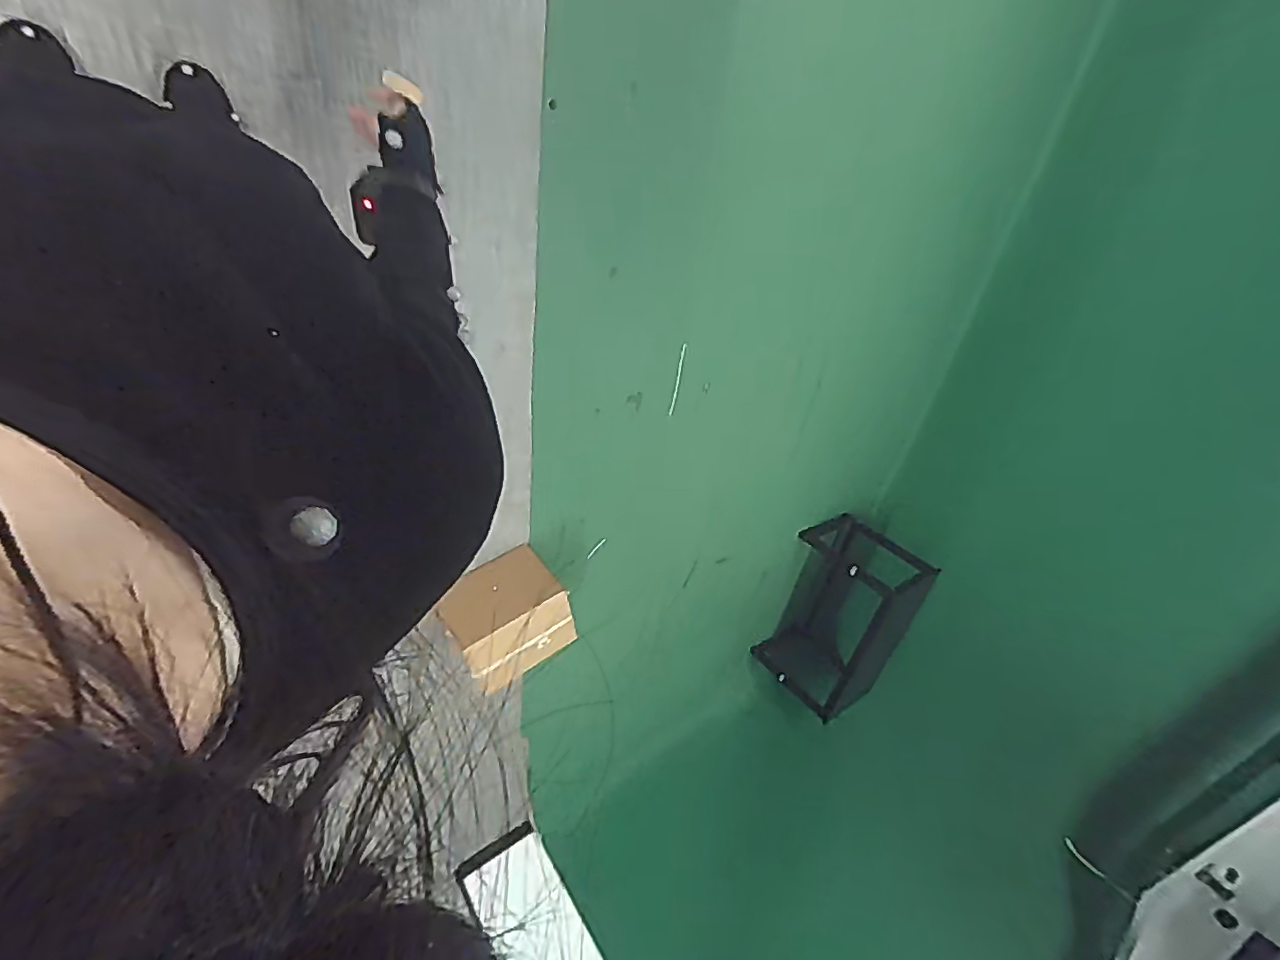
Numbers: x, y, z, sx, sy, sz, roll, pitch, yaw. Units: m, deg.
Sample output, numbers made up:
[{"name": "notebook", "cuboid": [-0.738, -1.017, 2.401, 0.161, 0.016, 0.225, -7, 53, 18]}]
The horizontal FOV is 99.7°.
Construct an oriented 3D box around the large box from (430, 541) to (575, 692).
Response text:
[{"name": "large box", "cuboid": [-0.515, 0.507, 2.054, 0.408, 0.320, 0.320, -29, 137, -26]}]
